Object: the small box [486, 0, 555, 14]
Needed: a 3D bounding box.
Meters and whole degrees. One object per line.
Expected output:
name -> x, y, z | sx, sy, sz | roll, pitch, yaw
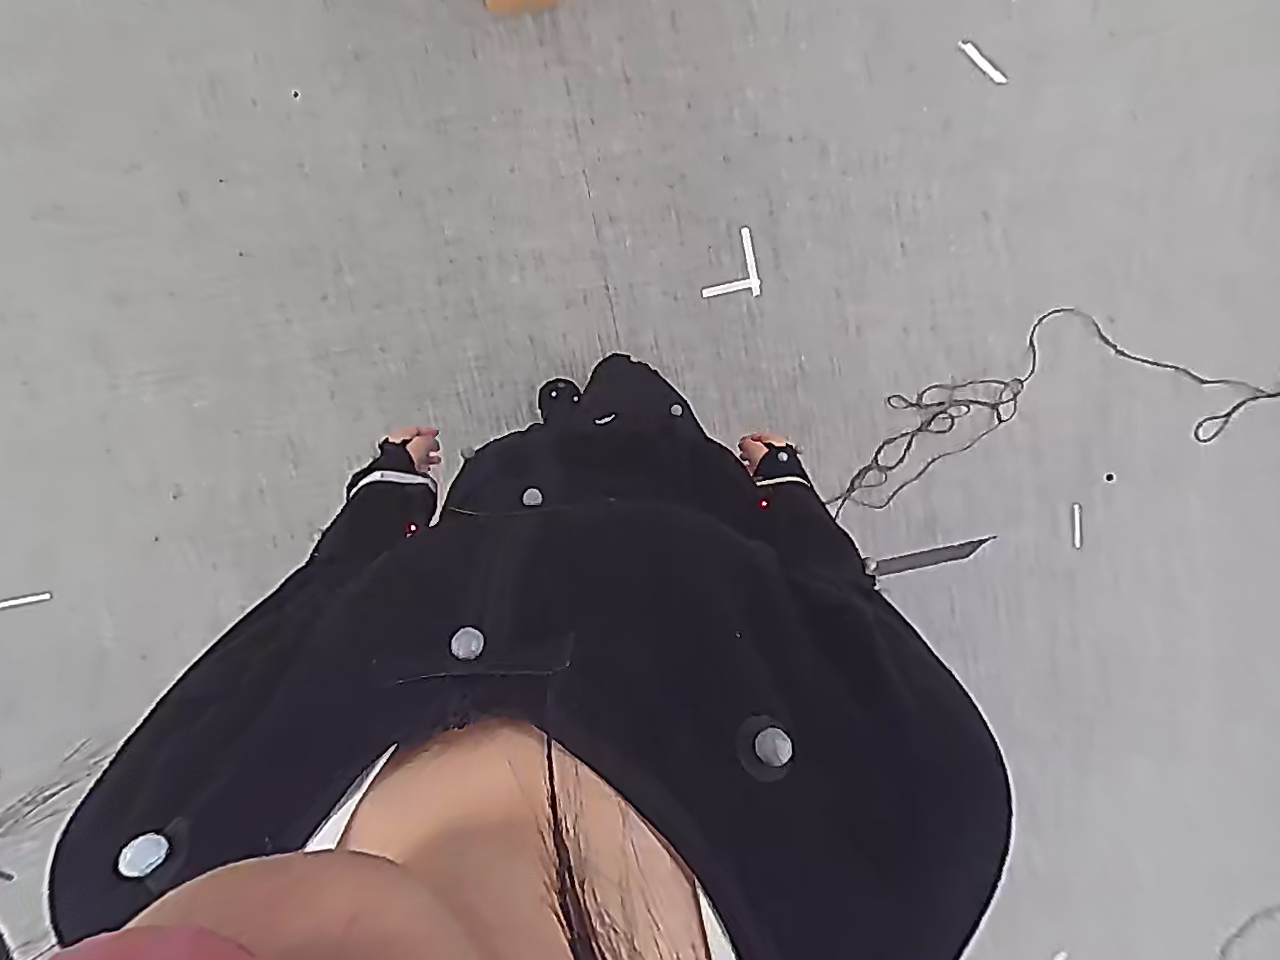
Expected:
small box -> -0.277, -1.180, 1.191 | 0.179, 0.176, 0.168 | -12, 100, -4
